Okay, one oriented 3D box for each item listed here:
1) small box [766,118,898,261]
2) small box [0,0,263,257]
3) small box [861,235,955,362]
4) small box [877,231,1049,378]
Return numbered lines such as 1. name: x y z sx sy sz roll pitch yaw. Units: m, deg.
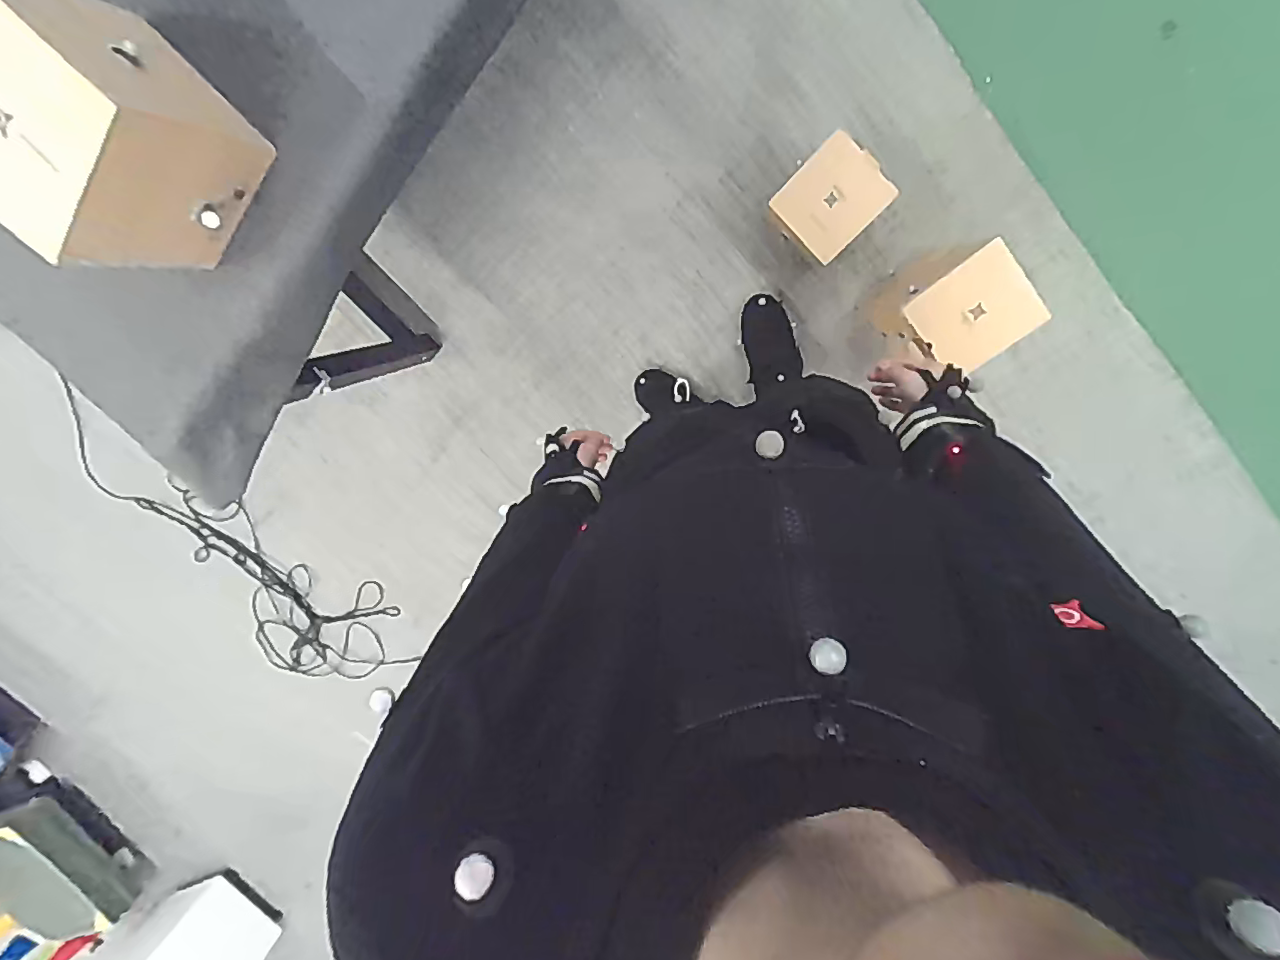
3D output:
1. small box: 0.364 -0.558 1.066 0.168 0.176 0.179 43 112 -7
2. small box: -0.514 -0.328 0.503 0.179 0.176 0.168 44 111 -10
3. small box: 0.575 -0.371 1.105 0.179 0.176 0.168 -39 102 22
4. small box: 0.555 -0.311 0.955 0.179 0.176 0.168 -38 102 20
